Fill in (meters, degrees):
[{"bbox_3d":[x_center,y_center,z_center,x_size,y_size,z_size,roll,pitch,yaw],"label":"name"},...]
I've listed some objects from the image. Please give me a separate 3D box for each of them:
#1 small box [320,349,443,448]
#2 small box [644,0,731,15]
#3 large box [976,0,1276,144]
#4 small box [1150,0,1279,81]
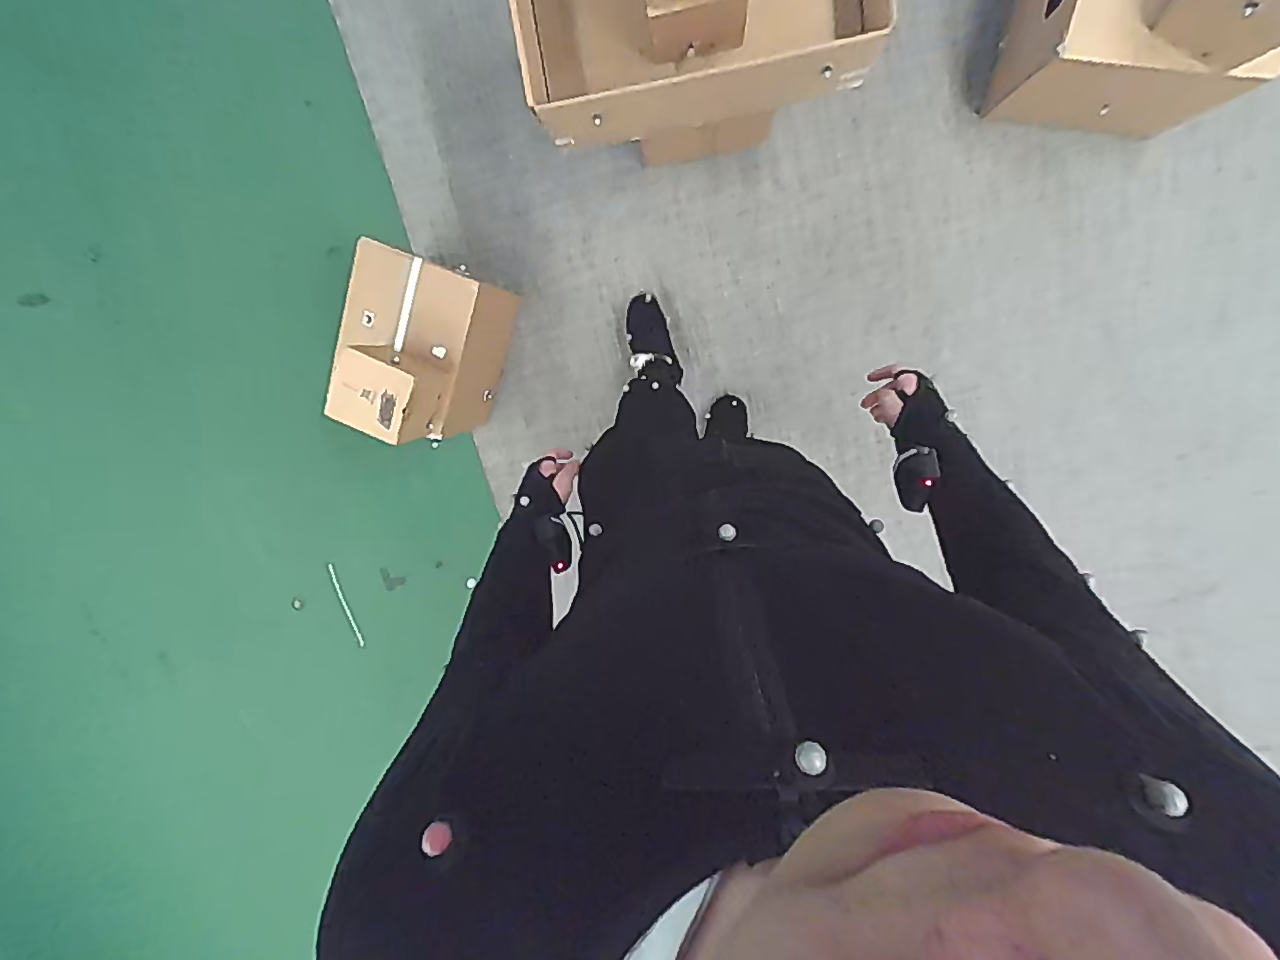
[{"bbox_3d":[-0.583,-0.192,1.240,0.179,0.176,0.168,24,103,0],"label":"small box"},{"bbox_3d":[0.068,-0.814,0.759,0.168,0.176,0.179,-6,103,8],"label":"small box"},{"bbox_3d":[1.033,-0.954,1.154,0.408,0.320,0.320,9,103,5],"label":"large box"},{"bbox_3d":[1.053,-0.844,0.924,0.168,0.176,0.179,28,105,-1],"label":"small box"}]
